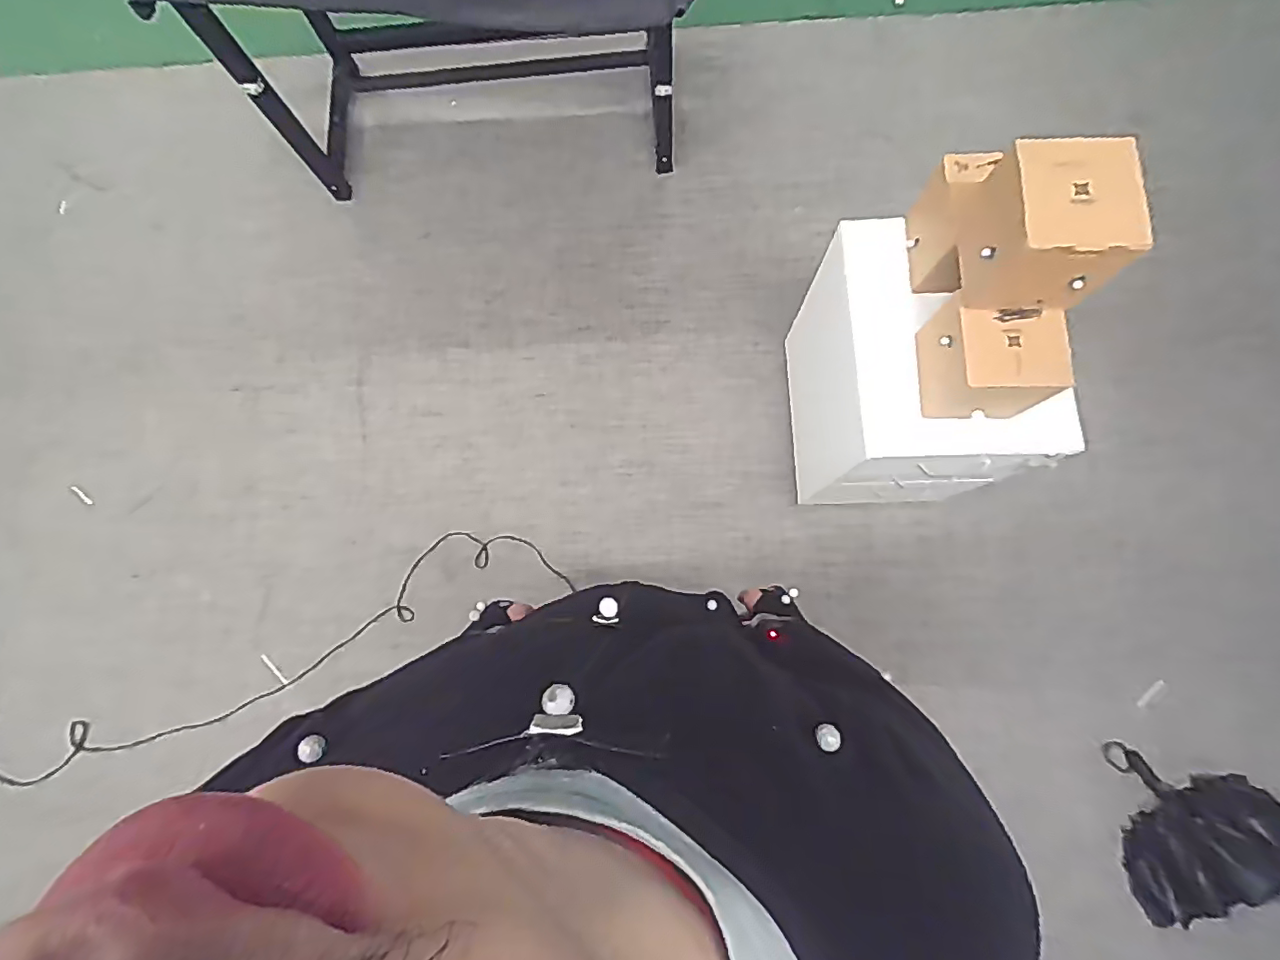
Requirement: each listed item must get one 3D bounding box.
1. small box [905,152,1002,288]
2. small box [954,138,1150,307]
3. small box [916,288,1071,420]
[{"bbox_3d":[0.613,-0.471,1.004,0.168,0.176,0.179,-1,81,2],"label":"small box"},{"bbox_3d":[0.606,-0.378,0.820,0.168,0.176,0.179,1,78,2],"label":"small box"},{"bbox_3d":[0.606,-0.216,0.953,0.168,0.176,0.179,1,79,4],"label":"small box"}]
